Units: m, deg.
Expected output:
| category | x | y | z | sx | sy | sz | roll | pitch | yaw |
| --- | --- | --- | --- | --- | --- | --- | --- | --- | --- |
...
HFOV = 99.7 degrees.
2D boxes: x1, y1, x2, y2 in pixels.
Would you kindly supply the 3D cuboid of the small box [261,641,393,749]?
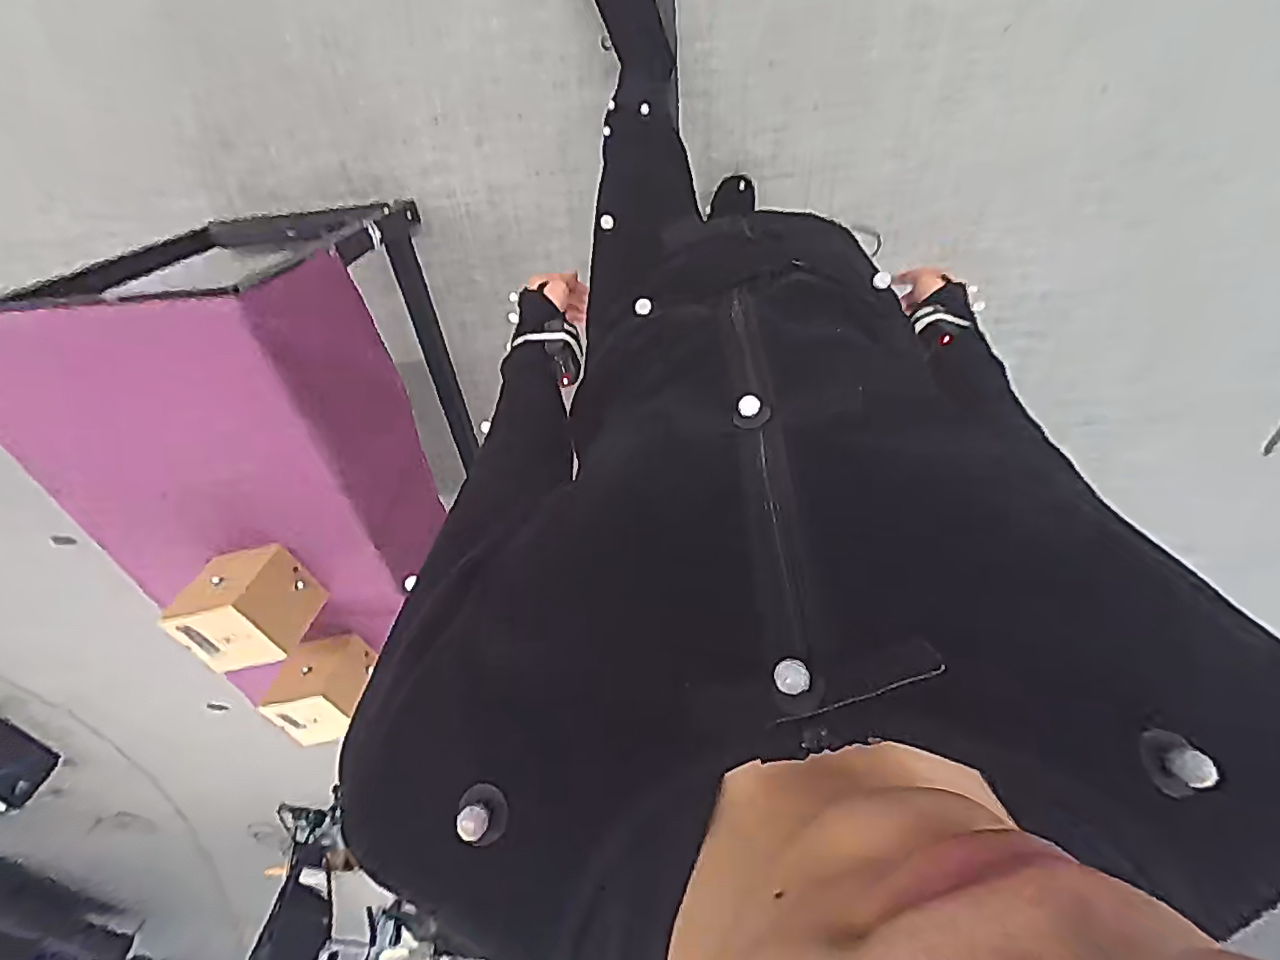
| category | x | y | z | sx | sy | sz | roll | pitch | yaw |
| --- | --- | --- | --- | --- | --- | --- | --- | --- | --- |
| small box | -0.730 | 0.507 | 1.283 | 0.179 | 0.176 | 0.168 | -14 | 125 | 13 |
